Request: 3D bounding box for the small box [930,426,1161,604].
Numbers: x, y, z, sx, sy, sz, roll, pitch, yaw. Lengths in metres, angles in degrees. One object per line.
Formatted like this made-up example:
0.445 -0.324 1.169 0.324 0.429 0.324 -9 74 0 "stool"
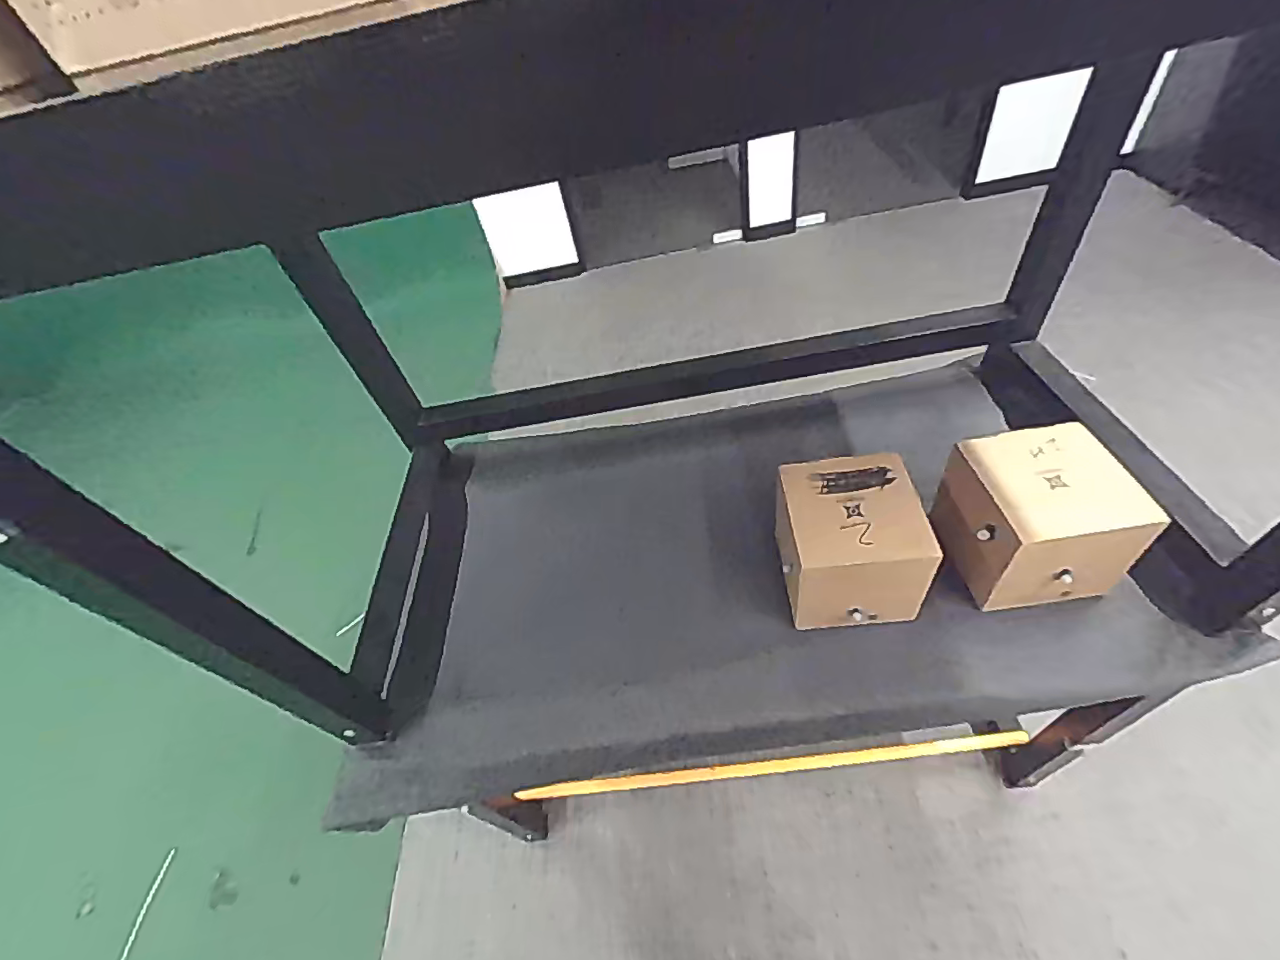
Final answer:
0.530 0.055 0.741 0.168 0.176 0.179 -9 47 4 "small box"
